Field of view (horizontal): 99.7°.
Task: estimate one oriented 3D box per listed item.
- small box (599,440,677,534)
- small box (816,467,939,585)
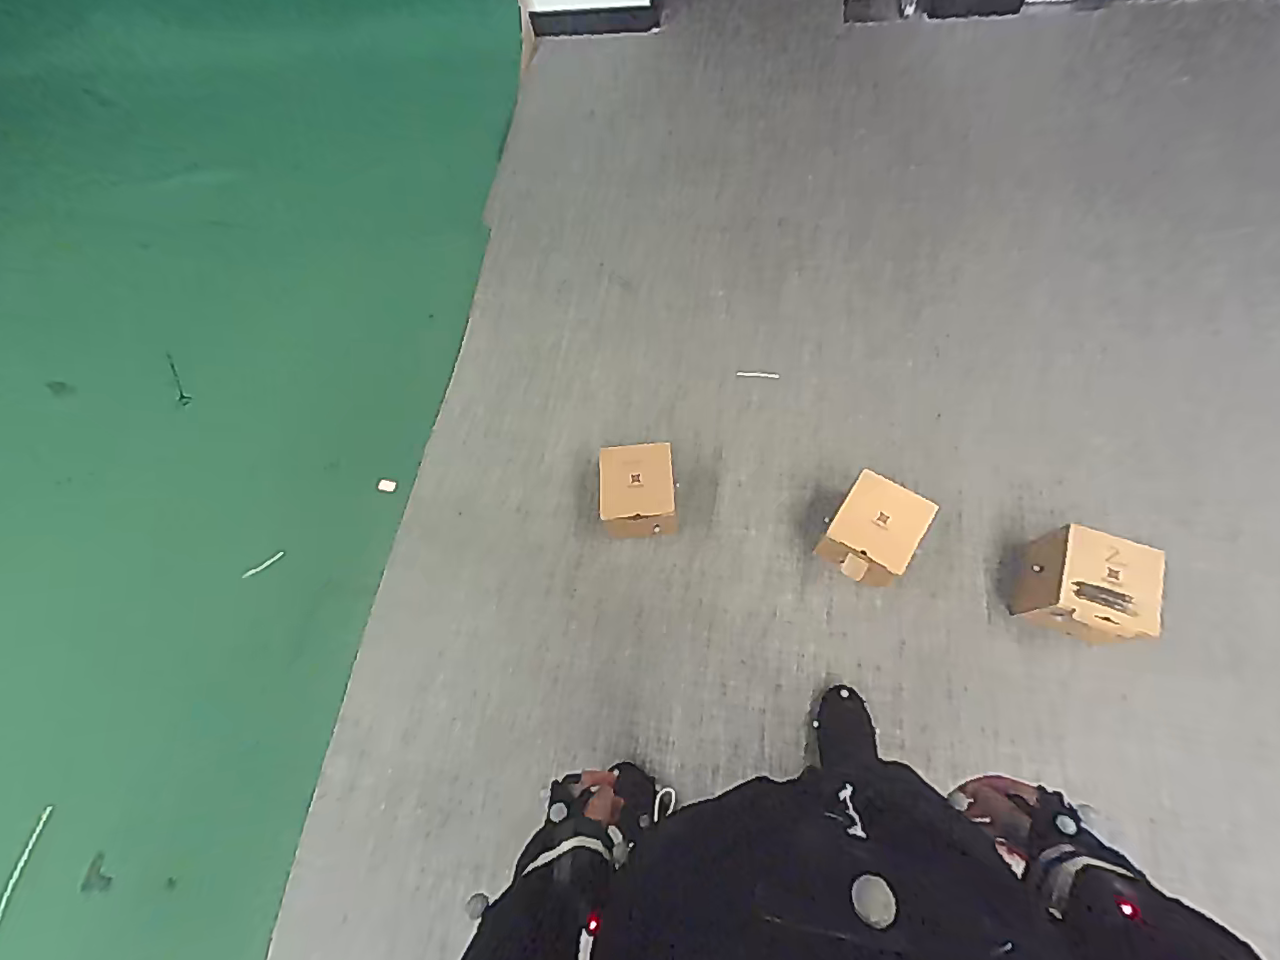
[{"bbox_3d":[-0.002,0.025,1.267,0.168,0.176,0.179,-5,68,4],"label":"small box"},{"bbox_3d":[0.503,0.105,1.174,0.168,0.176,0.179,31,77,16],"label":"small box"}]
